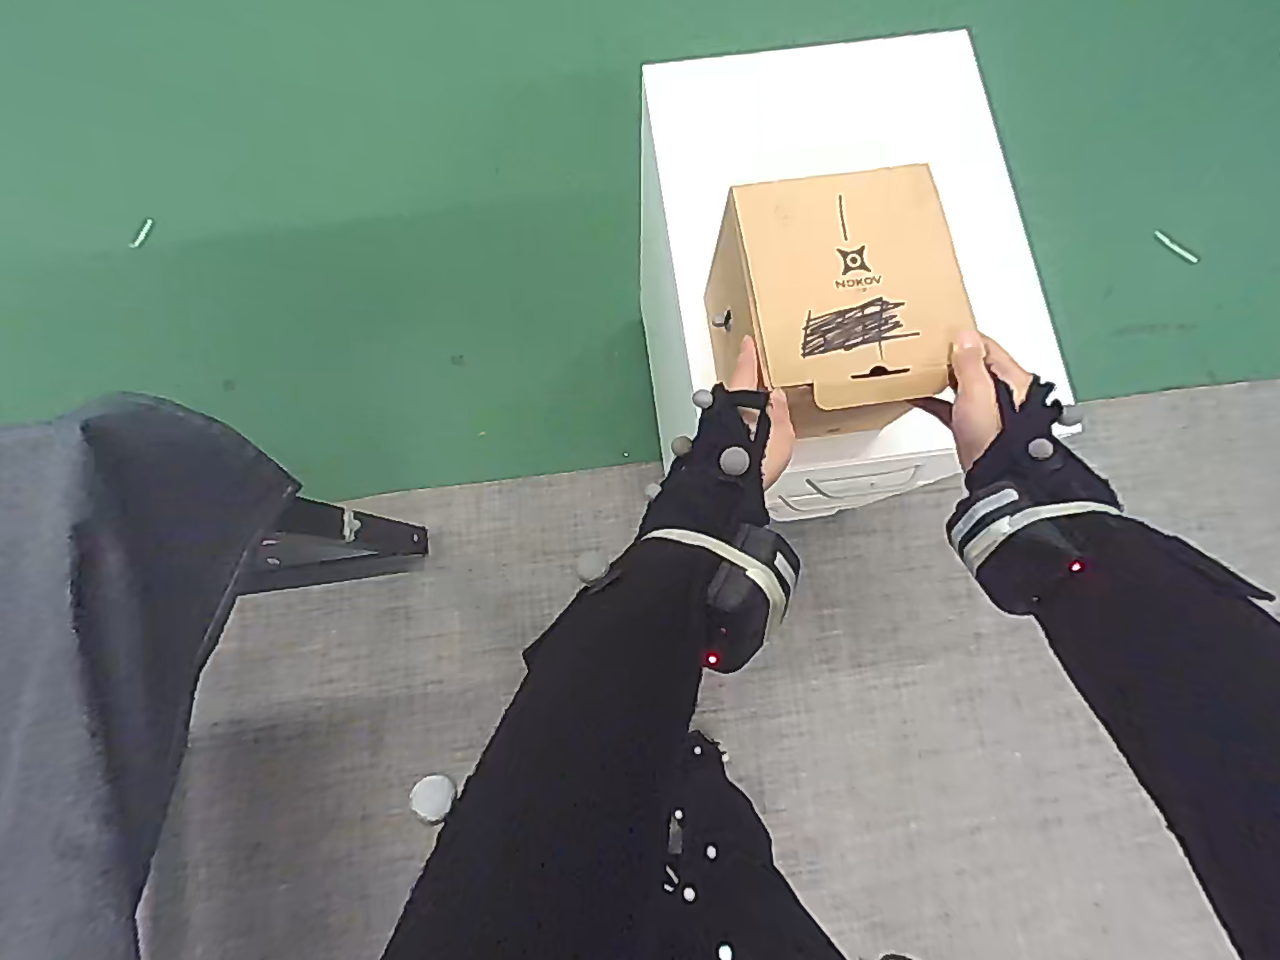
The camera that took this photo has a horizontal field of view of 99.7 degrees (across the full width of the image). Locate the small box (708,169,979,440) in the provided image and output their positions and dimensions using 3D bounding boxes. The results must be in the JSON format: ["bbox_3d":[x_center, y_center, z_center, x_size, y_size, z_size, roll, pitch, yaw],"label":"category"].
[{"bbox_3d":[0.162,-0.141,0.493,0.168,0.176,0.179,-7,78,-2],"label":"small box"}]
